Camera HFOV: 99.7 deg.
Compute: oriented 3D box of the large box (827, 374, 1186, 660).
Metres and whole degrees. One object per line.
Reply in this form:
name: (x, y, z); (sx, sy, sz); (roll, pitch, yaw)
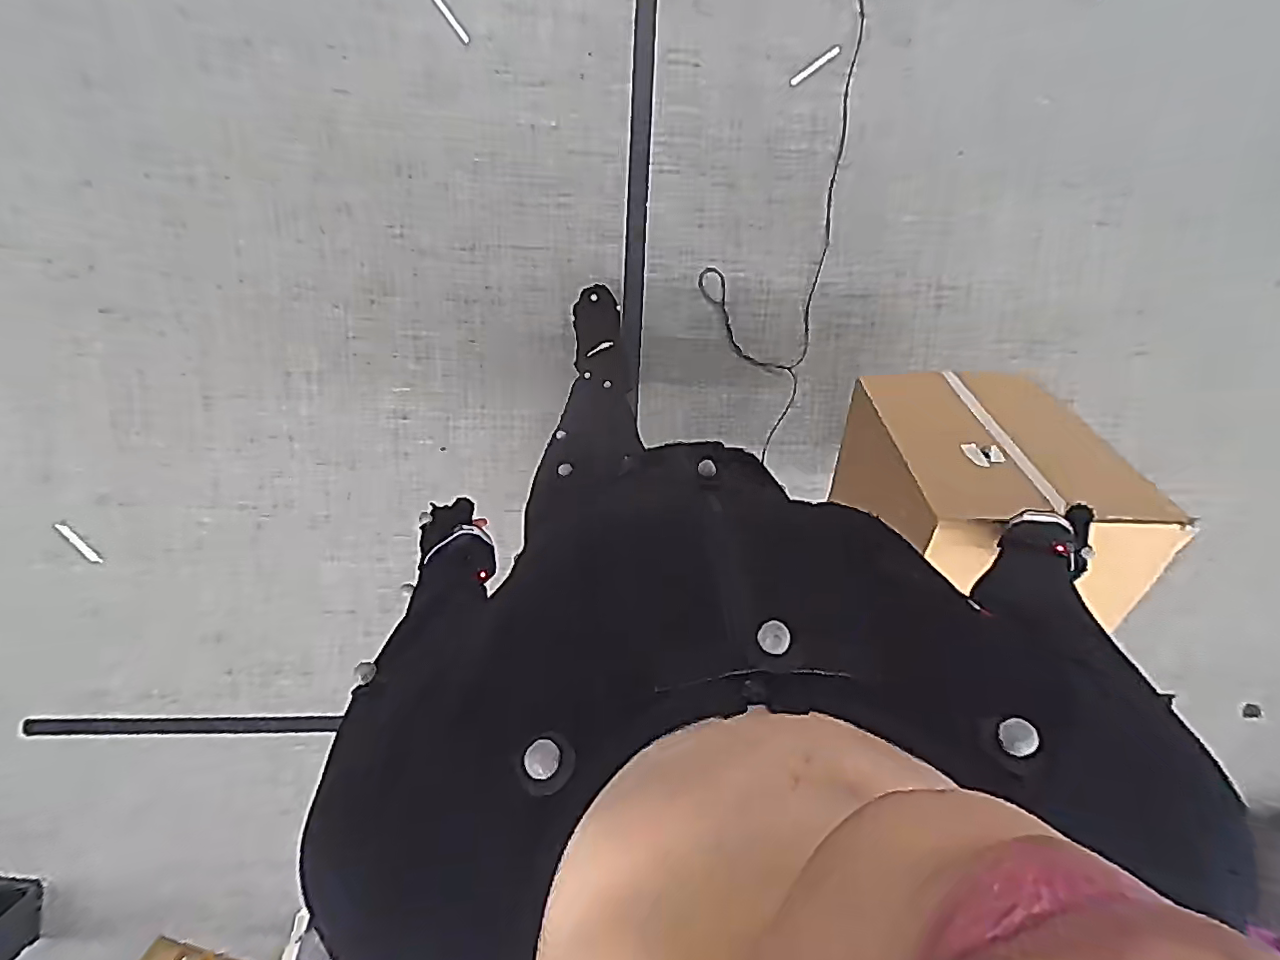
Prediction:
large box: (0.550, 0.049, 0.936); (0.320, 0.408, 0.320); (0, 129, 3)
